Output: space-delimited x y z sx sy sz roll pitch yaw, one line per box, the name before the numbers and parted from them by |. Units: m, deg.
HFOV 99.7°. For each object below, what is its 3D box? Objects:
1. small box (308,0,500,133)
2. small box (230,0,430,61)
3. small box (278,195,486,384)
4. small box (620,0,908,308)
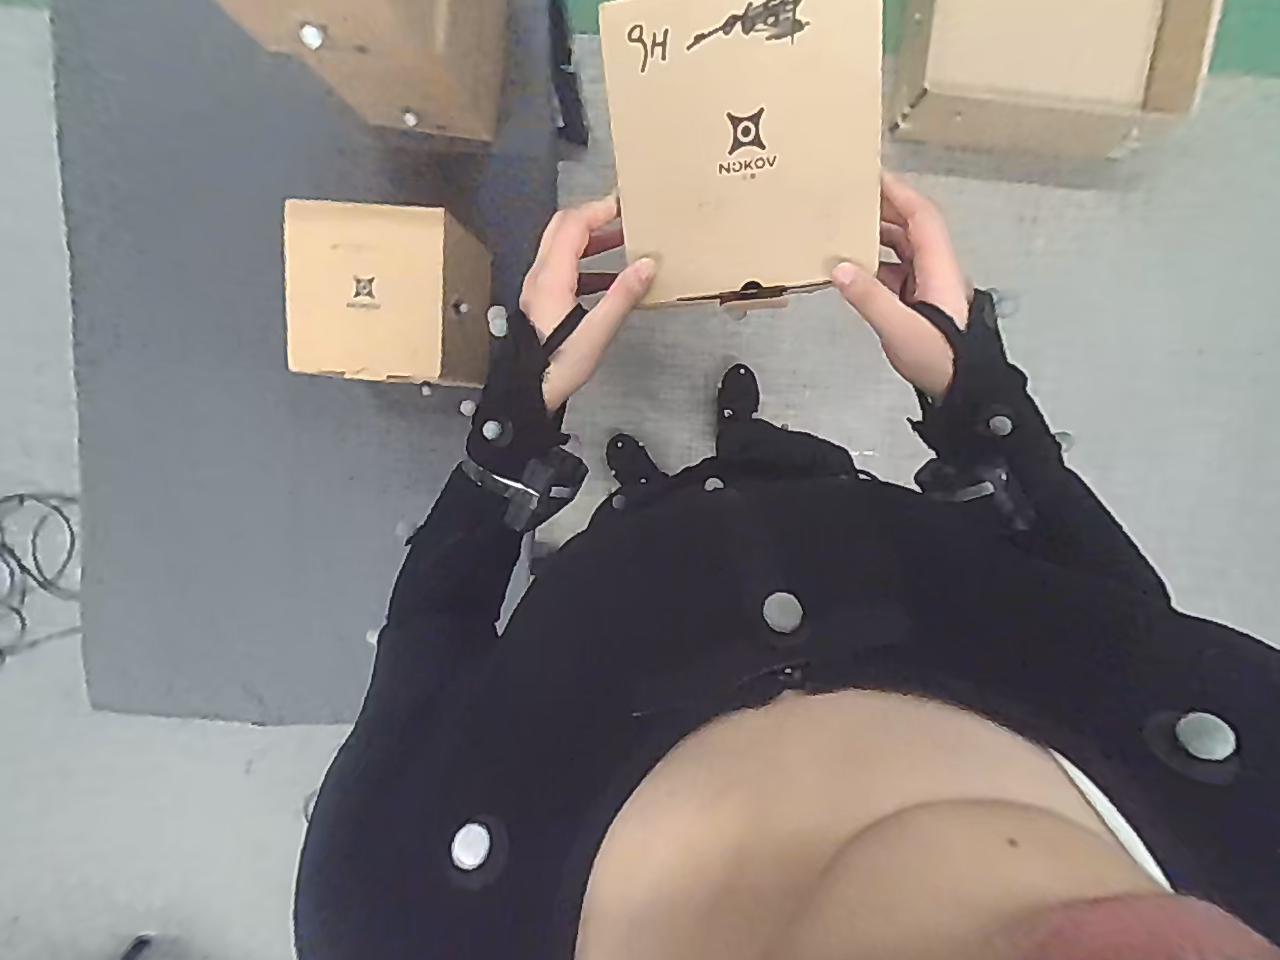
small box | -0.257 -0.517 0.582 0.168 0.176 0.179 8 99 0
small box | -0.273 -0.481 0.422 0.168 0.176 0.179 7 99 0
small box | -0.284 -0.205 0.629 0.168 0.176 0.179 3 97 0
small box | 0.080 -0.230 0.408 0.168 0.176 0.179 -4 108 4
